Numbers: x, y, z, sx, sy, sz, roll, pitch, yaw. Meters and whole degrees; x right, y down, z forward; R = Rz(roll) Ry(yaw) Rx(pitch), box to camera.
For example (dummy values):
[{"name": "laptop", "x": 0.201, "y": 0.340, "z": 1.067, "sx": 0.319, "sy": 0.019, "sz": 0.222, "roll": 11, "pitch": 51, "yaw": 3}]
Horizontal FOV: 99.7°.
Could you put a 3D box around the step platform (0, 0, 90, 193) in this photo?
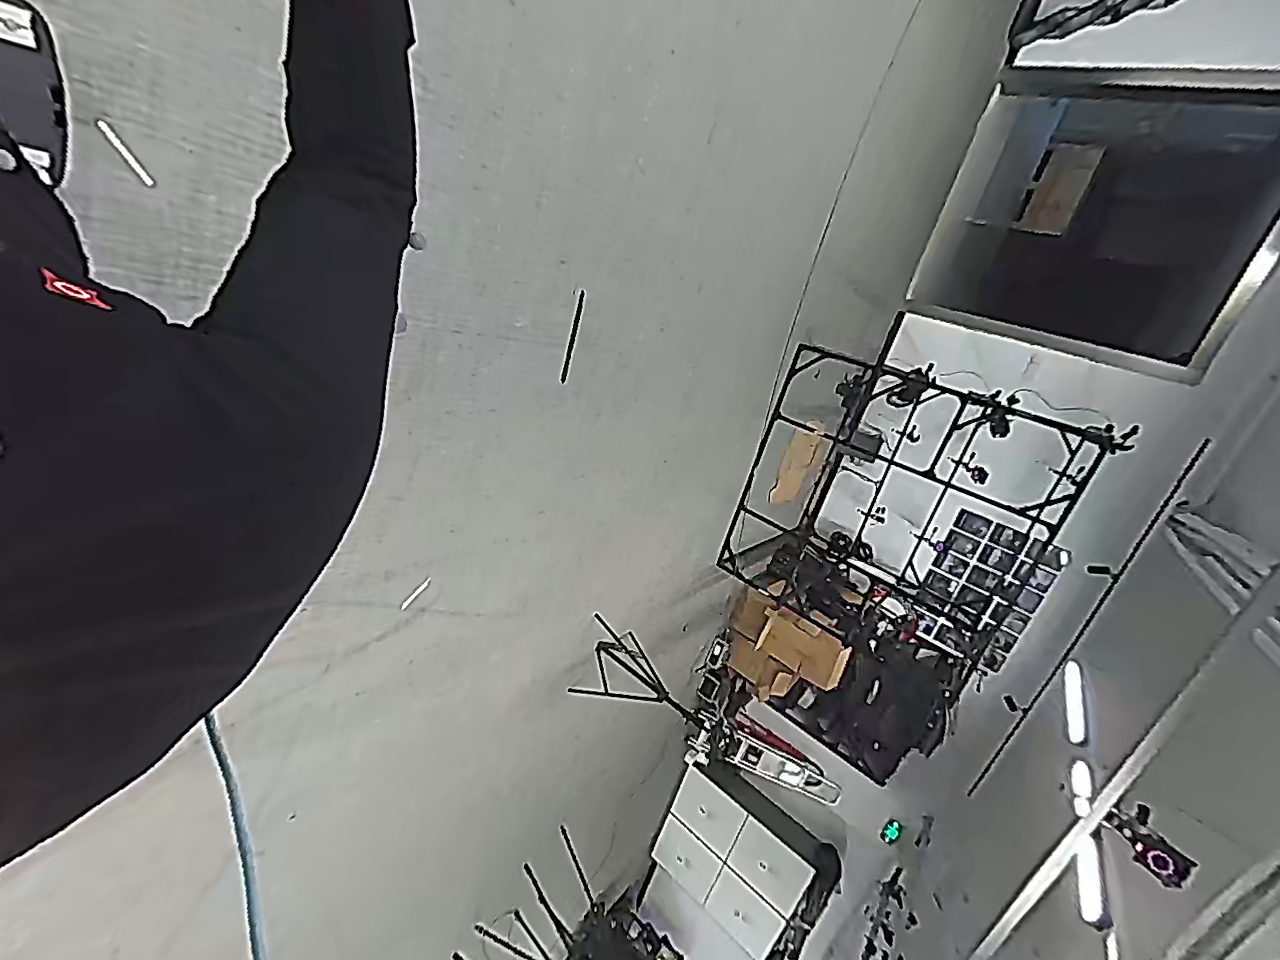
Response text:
[{"name": "step platform", "x": -1.208, "y": -0.620, "z": 0.710, "sx": 0.684, "sy": 0.204, "sz": 0.286, "roll": -14, "pitch": 125, "yaw": -53}]
